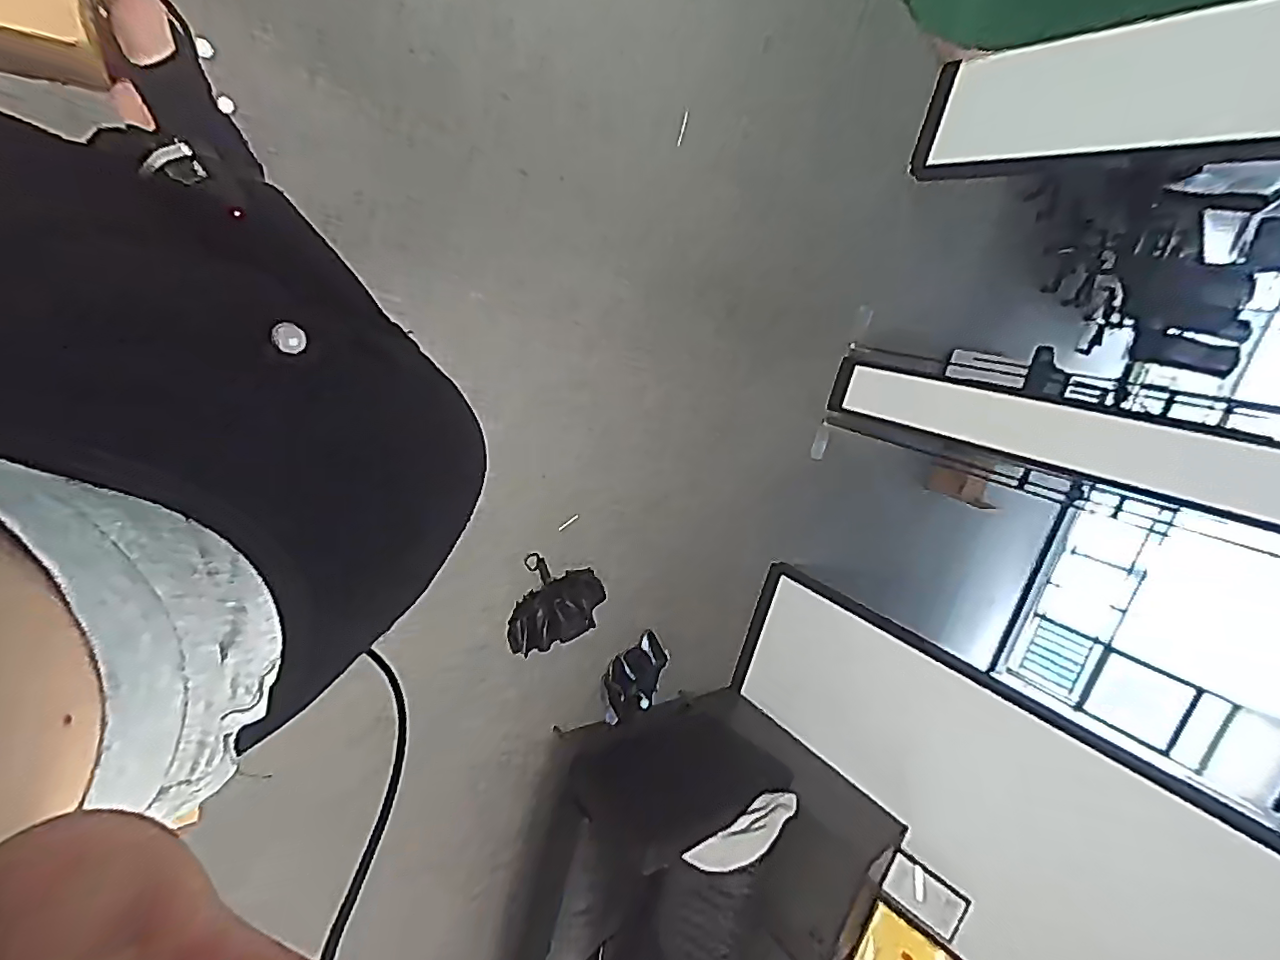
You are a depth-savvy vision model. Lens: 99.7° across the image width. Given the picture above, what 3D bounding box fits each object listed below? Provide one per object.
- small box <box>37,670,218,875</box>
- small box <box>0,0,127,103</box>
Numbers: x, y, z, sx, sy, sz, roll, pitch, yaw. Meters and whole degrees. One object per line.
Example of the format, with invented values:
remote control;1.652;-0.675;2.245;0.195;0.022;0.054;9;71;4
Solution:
small box;-0.732;0.405;0.785;0.179;0.176;0.168;1;109;-42
small box;-0.437;-0.341;0.310;0.179;0.176;0.168;-11;117;-36
